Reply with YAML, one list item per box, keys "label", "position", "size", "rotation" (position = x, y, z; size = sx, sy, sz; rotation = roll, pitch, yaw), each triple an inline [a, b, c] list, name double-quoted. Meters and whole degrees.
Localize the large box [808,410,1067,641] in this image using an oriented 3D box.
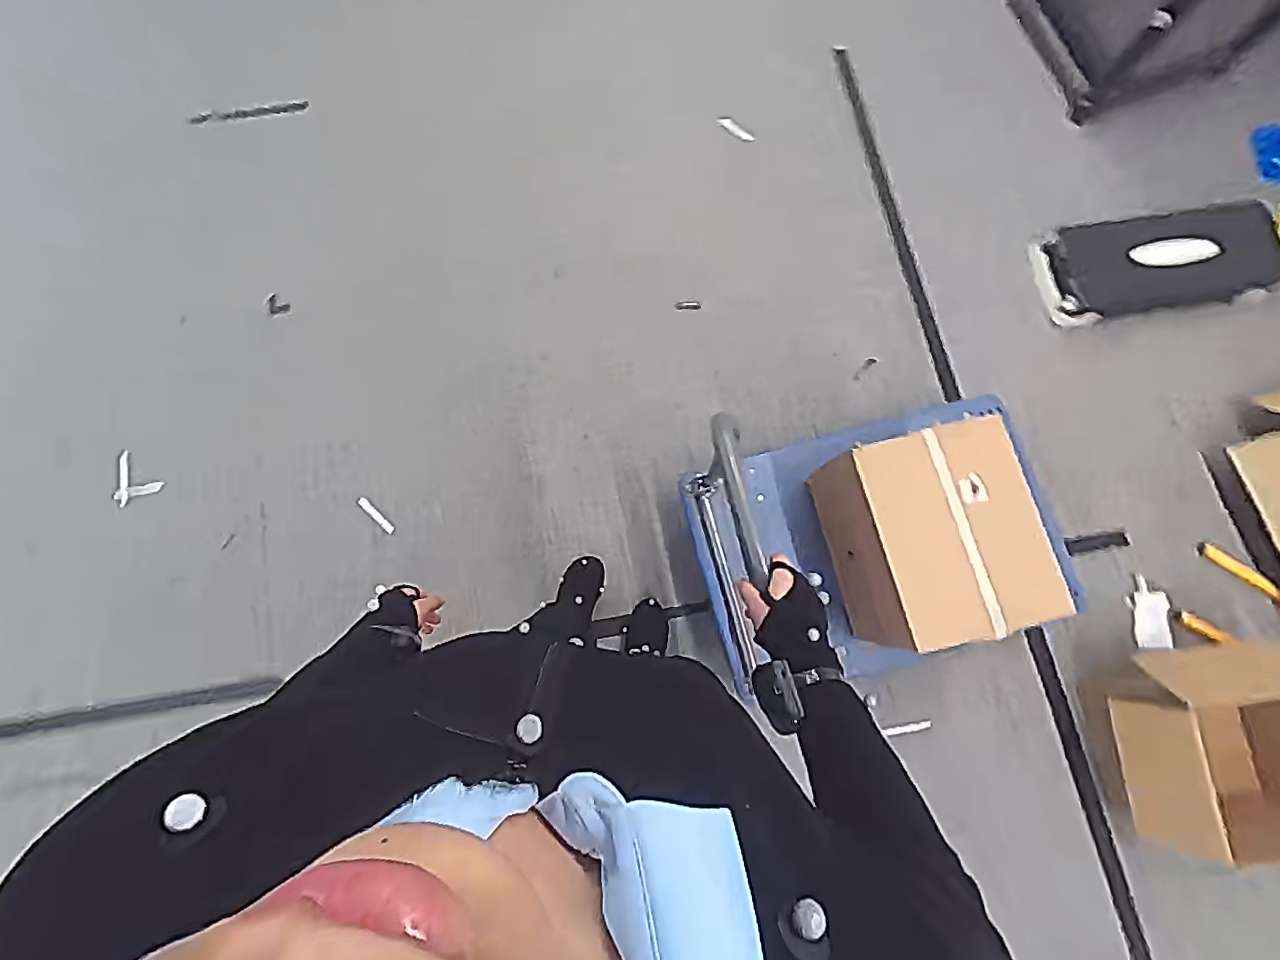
- label: "large box"
  position: [0.615, 0.111, 1.200]
  size: [0.320, 0.320, 0.408]
  rotation: [-14, 78, -3]
